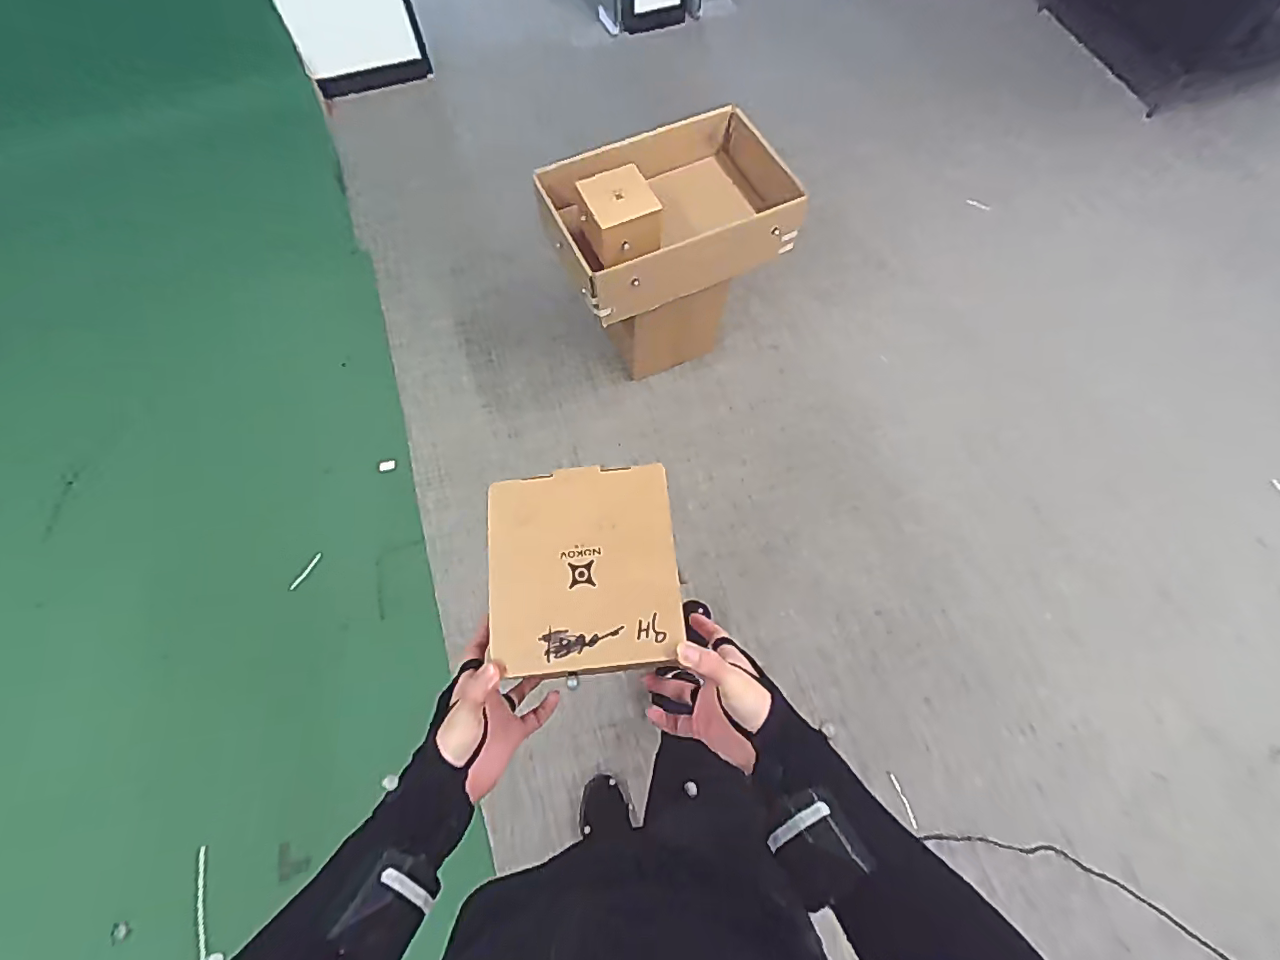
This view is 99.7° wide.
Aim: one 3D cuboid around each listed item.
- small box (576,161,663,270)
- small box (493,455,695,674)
[{"bbox_3d":[-0.049,-0.671,1.395,0.168,0.176,0.179,-24,69,-9],"label":"small box"},{"bbox_3d":[-0.040,0.093,0.538,0.168,0.176,0.179,-6,69,1],"label":"small box"}]
